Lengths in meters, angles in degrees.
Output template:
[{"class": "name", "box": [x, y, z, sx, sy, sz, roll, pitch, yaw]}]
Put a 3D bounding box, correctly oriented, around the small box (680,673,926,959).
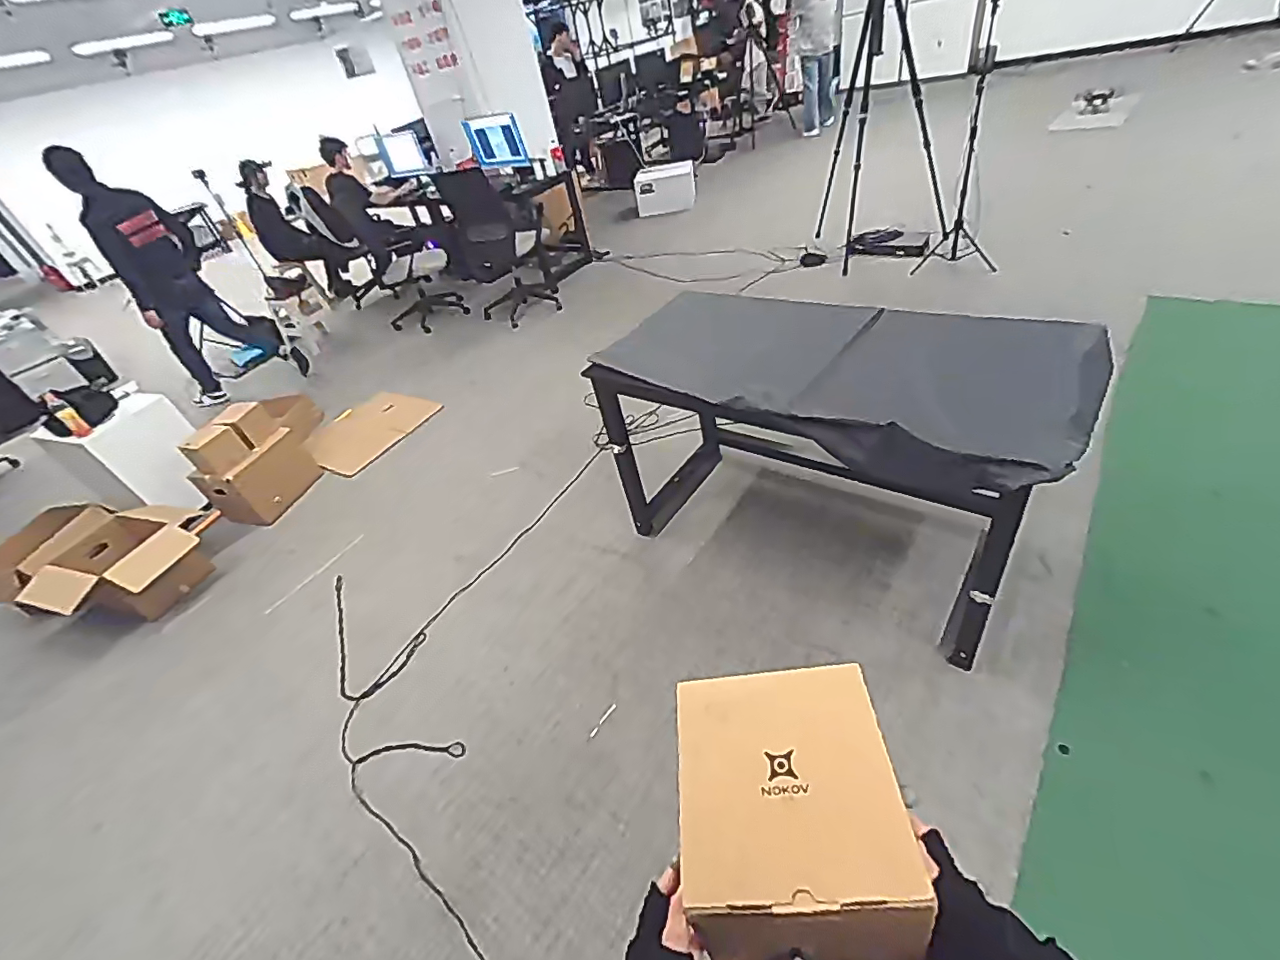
[{"class": "small box", "box": [0.130, 0.300, 0.481, 0.168, 0.176, 0.179, -10, 38, 10]}]
